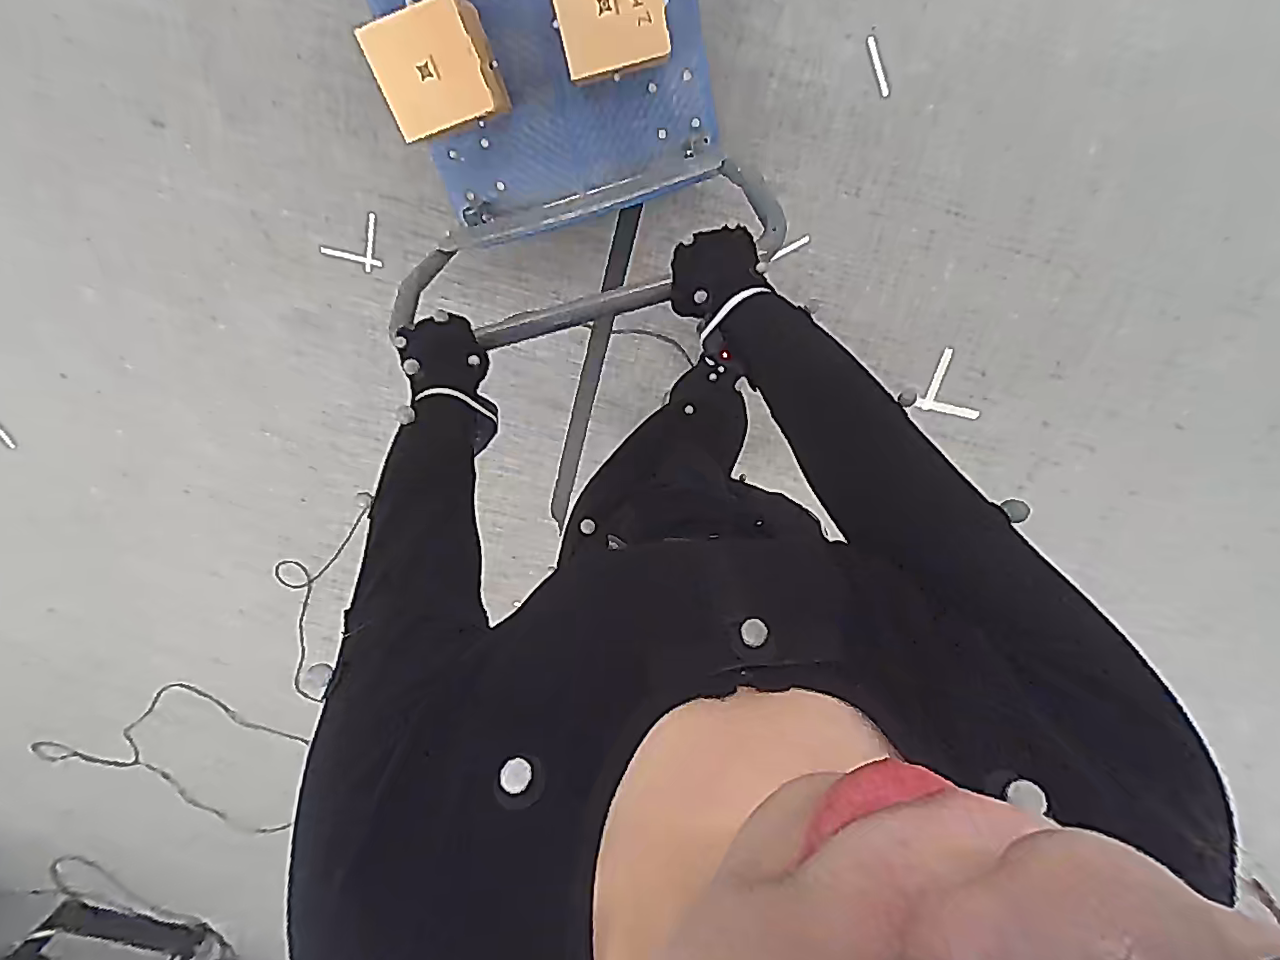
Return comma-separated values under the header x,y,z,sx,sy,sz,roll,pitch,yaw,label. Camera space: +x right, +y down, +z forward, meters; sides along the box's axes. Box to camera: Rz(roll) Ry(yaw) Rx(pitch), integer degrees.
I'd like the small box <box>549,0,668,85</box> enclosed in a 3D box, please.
x,y,z,sx,sy,sz,roll,pitch,yaw,label
-0.054,-0.796,0.924,0.179,0.176,0.168,-12,124,5,small box

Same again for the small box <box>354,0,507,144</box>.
x,y,z,sx,sy,sz,roll,pitch,yaw,label
-0.359,-0.718,0.963,0.179,0.176,0.168,-17,122,7,small box
